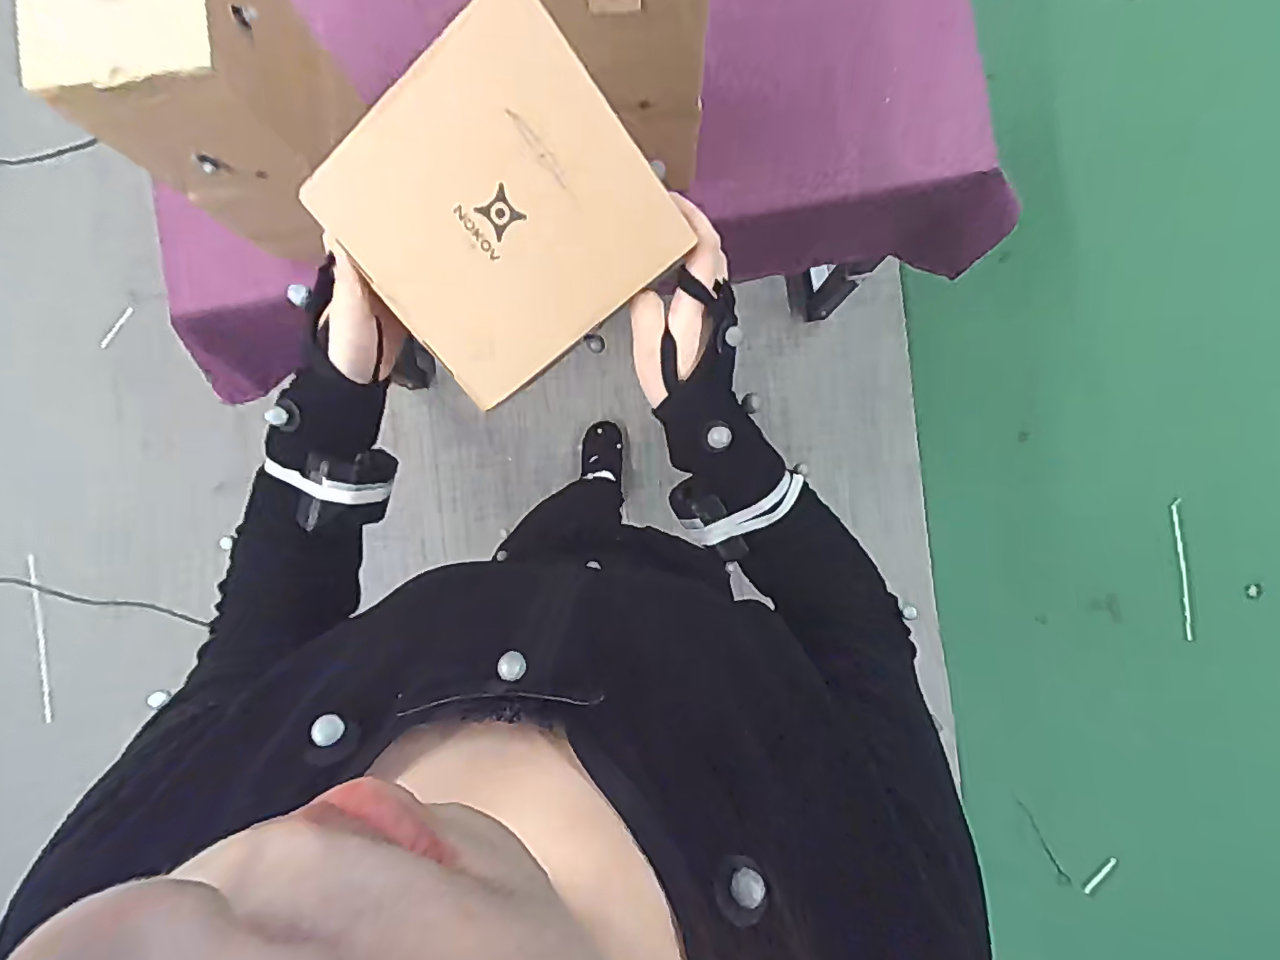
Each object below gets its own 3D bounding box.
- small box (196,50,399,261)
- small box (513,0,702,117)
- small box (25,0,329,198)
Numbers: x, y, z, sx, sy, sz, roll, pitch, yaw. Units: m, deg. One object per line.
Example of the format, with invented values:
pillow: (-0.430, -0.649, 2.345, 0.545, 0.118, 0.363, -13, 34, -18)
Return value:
small box: (-0.436, -0.408, 0.708, 0.179, 0.176, 0.168, -7, 88, 2)
small box: (-0.027, -0.489, 0.528, 0.168, 0.176, 0.179, -4, 88, 2)
small box: (-0.446, -0.420, 0.545, 0.168, 0.176, 0.179, -6, 90, 2)
